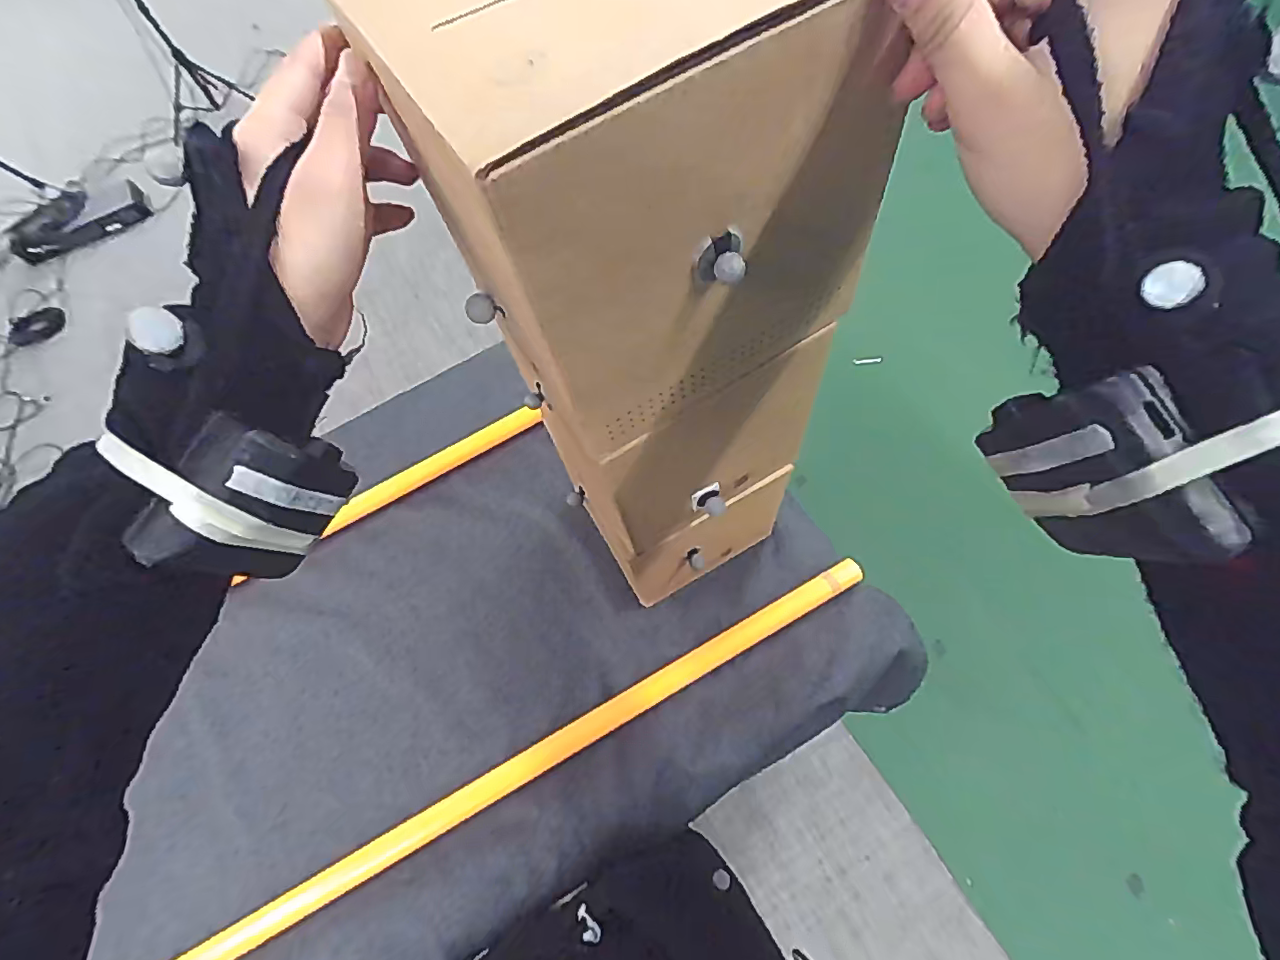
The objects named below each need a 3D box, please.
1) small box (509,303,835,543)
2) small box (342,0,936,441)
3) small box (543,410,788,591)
[{"bbox_3d":[0.013,-0.081,0.416,0.168,0.176,0.179,-32,64,-8],"label":"small box"},{"bbox_3d":[-0.003,-0.153,0.268,0.179,0.176,0.168,-32,63,-7],"label":"small box"},{"bbox_3d":[0.028,-0.003,0.558,0.168,0.176,0.179,-29,63,-8],"label":"small box"}]
